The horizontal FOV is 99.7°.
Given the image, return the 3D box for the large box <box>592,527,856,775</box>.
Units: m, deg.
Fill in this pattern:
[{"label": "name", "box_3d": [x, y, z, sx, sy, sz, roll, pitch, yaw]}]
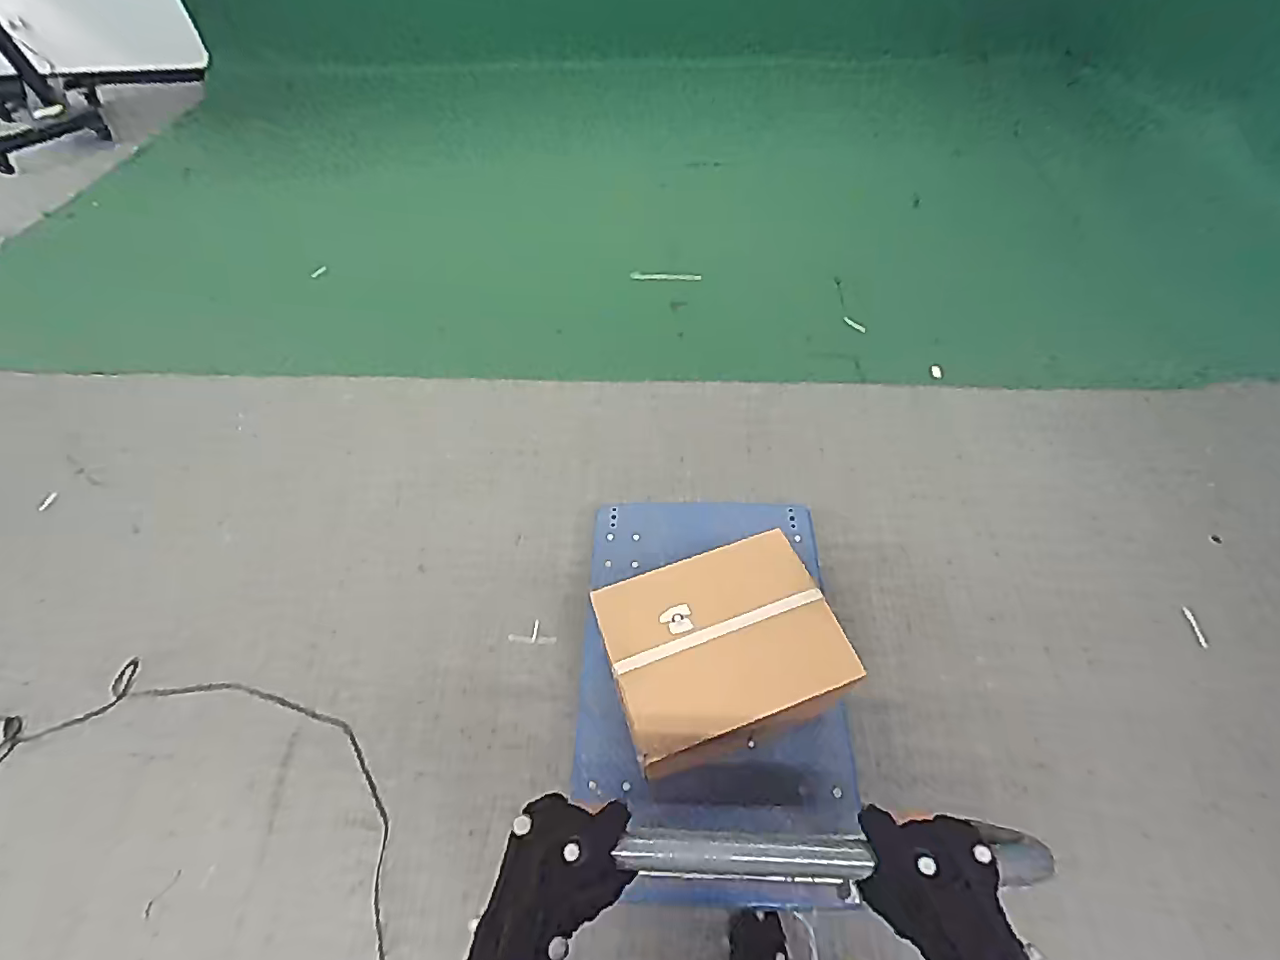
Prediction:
[{"label": "large box", "box_3d": [0.151, 0.355, 1.110, 0.408, 0.320, 0.320, -18, 56, -9]}]
